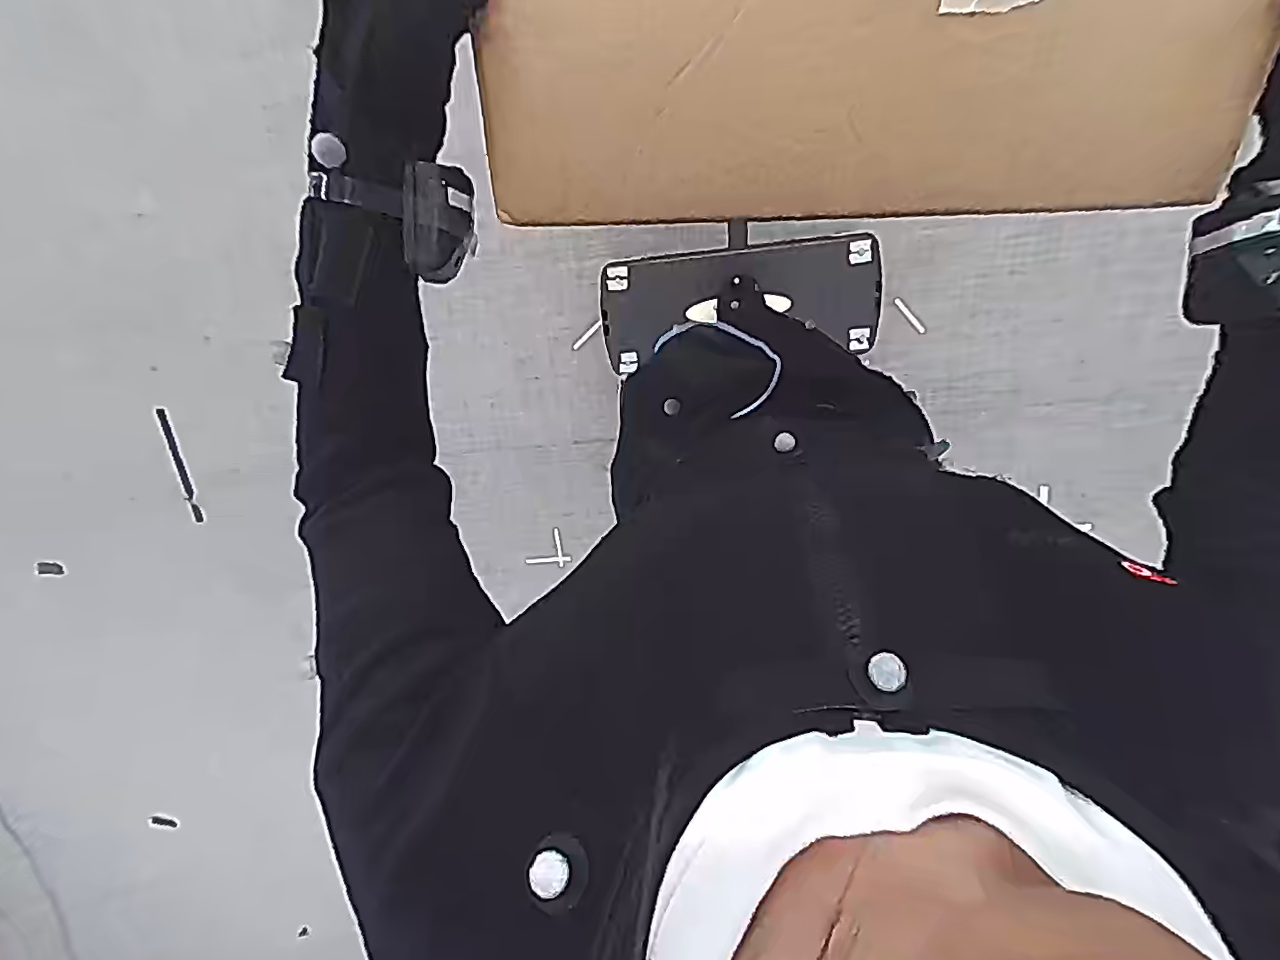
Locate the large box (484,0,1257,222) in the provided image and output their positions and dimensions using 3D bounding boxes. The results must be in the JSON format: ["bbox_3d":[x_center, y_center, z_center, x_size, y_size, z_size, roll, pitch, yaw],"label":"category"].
[{"bbox_3d":[0.120,-0.372,0.390,0.408,0.320,0.320,1,118,6],"label":"large box"}]

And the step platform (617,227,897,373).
[{"bbox_3d":[0.282,-0.451,1.382,0.684,0.204,0.286,-5,110,7],"label":"step platform"}]
